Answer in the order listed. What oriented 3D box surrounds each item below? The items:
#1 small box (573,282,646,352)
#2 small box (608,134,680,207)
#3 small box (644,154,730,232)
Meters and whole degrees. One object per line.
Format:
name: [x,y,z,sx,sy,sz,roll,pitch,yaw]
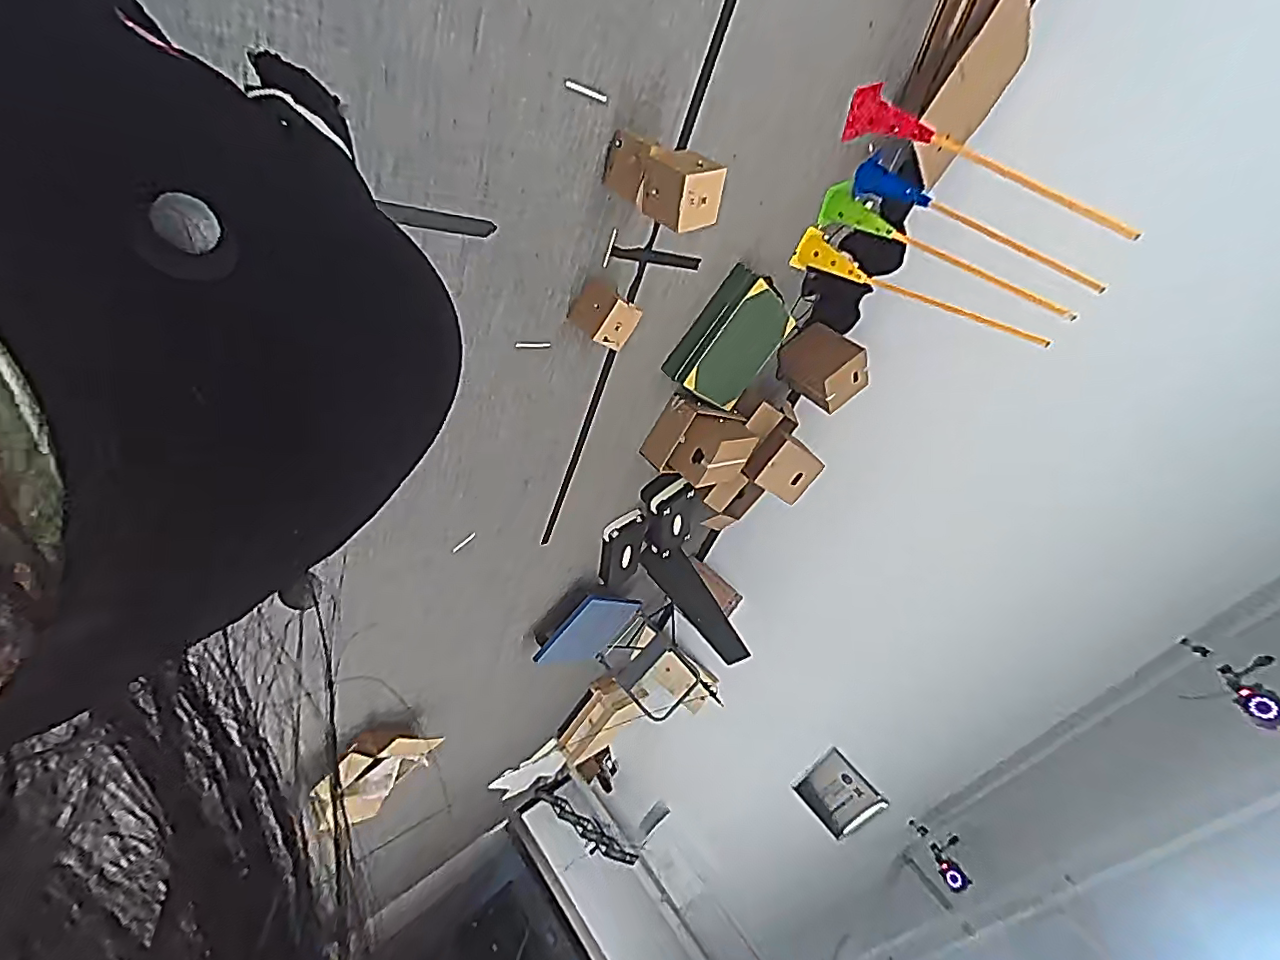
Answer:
small box: [-0.118,-0.610,2.018,0.168,0.176,0.179,2,128,-56]
small box: [0.025,-0.976,1.719,0.179,0.176,0.168,-18,141,-43]
small box: [0.139,-0.880,1.648,0.179,0.176,0.168,-25,144,-31]
